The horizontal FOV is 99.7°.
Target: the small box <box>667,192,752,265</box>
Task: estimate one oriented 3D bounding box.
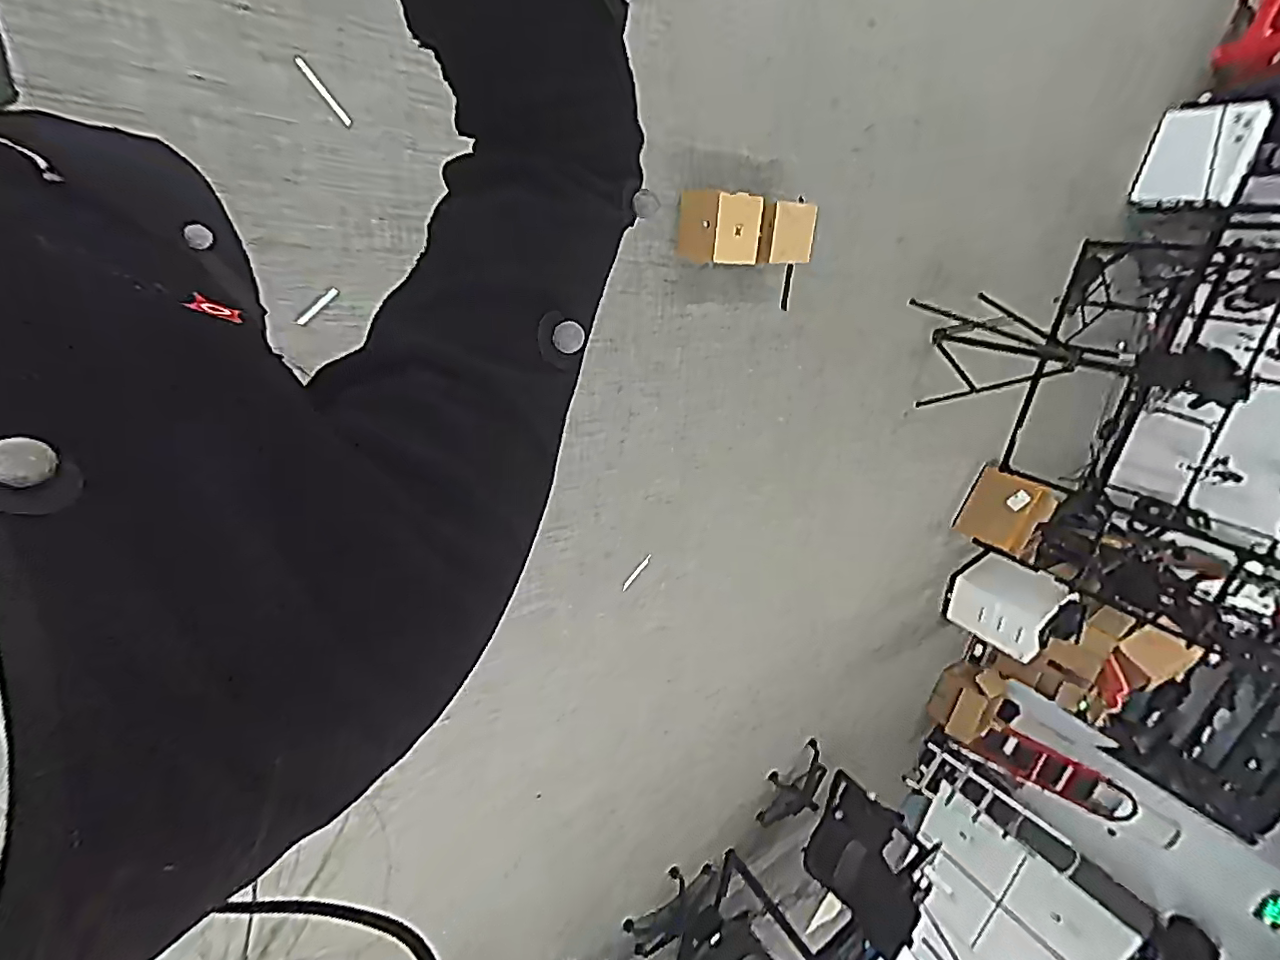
[{"bbox_3d":[0.195,-0.727,1.563,0.168,0.176,0.179,-13,119,-33],"label":"small box"}]

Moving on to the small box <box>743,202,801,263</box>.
[{"bbox_3d":[0.382,-0.769,1.681,0.179,0.176,0.168,-14,120,-32],"label":"small box"}]
